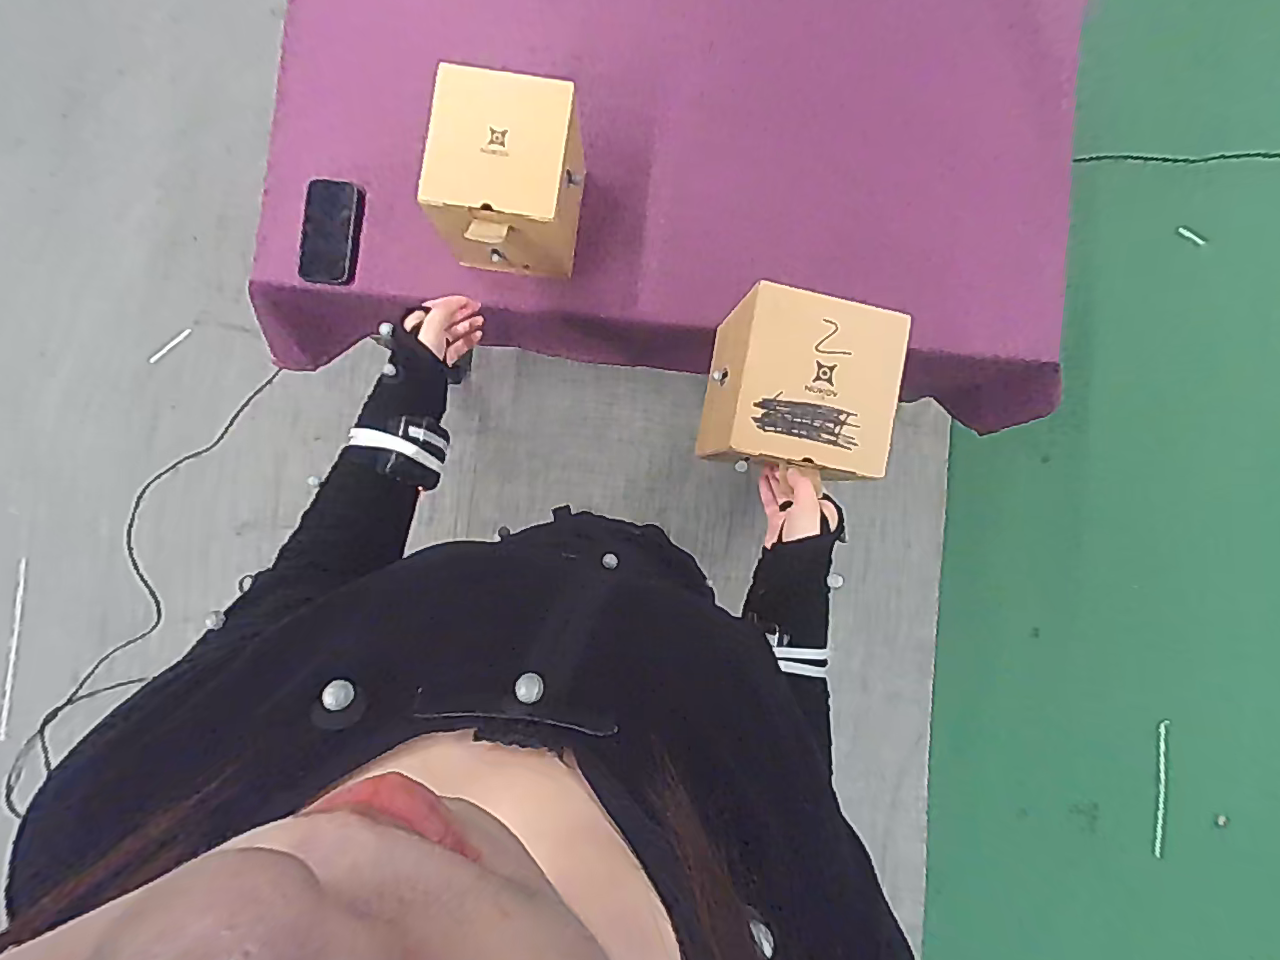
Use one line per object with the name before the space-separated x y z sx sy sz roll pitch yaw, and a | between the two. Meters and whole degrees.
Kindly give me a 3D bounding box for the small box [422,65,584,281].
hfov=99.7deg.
small box | -0.169 -0.395 0.724 0.168 0.176 0.179 9 87 -2
